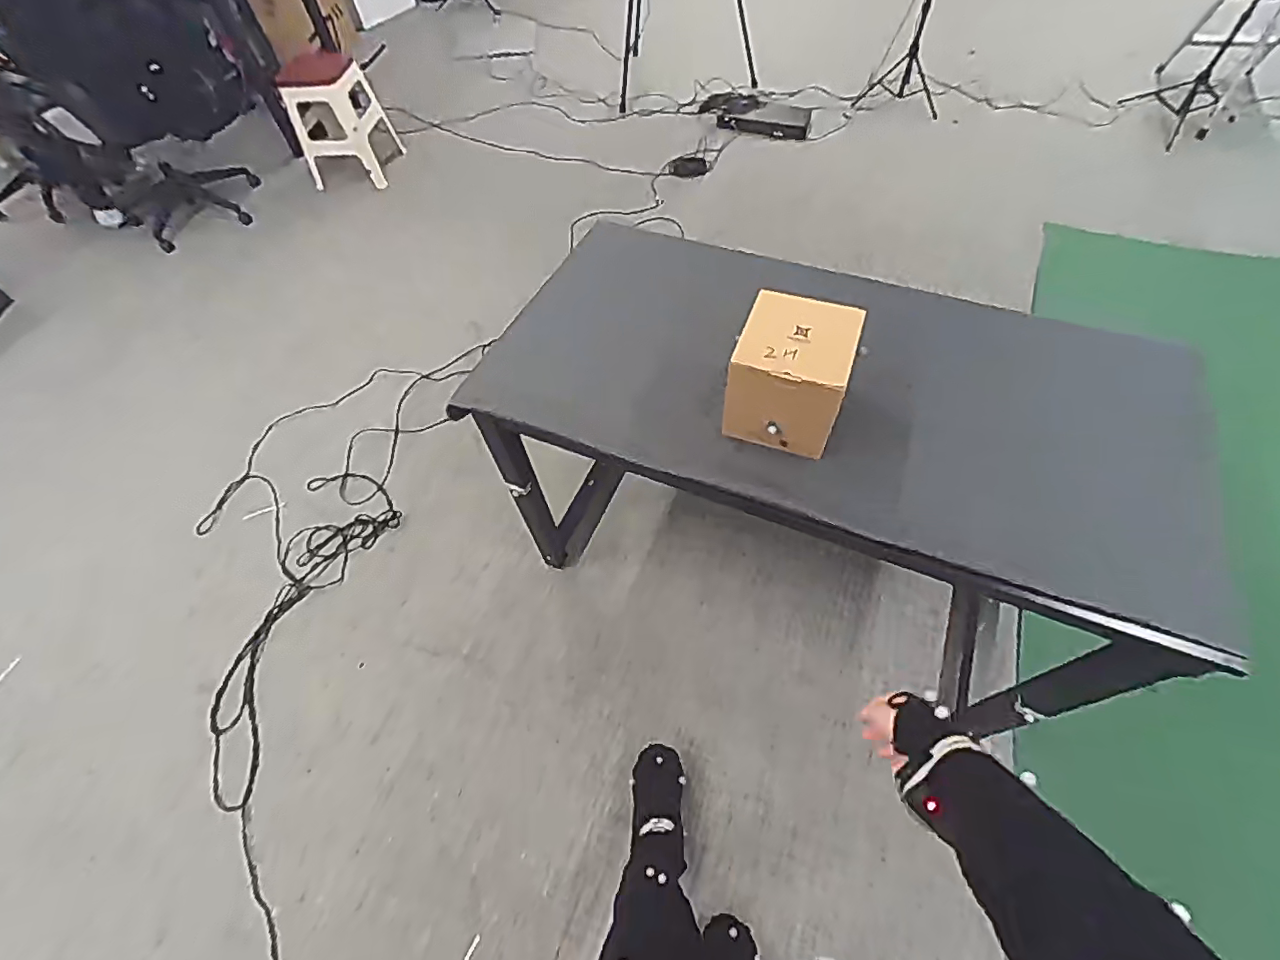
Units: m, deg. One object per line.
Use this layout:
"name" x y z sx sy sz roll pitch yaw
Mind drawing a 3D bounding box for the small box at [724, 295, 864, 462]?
"small box" 0.238 -0.160 0.865 0.168 0.176 0.179 17 59 15
